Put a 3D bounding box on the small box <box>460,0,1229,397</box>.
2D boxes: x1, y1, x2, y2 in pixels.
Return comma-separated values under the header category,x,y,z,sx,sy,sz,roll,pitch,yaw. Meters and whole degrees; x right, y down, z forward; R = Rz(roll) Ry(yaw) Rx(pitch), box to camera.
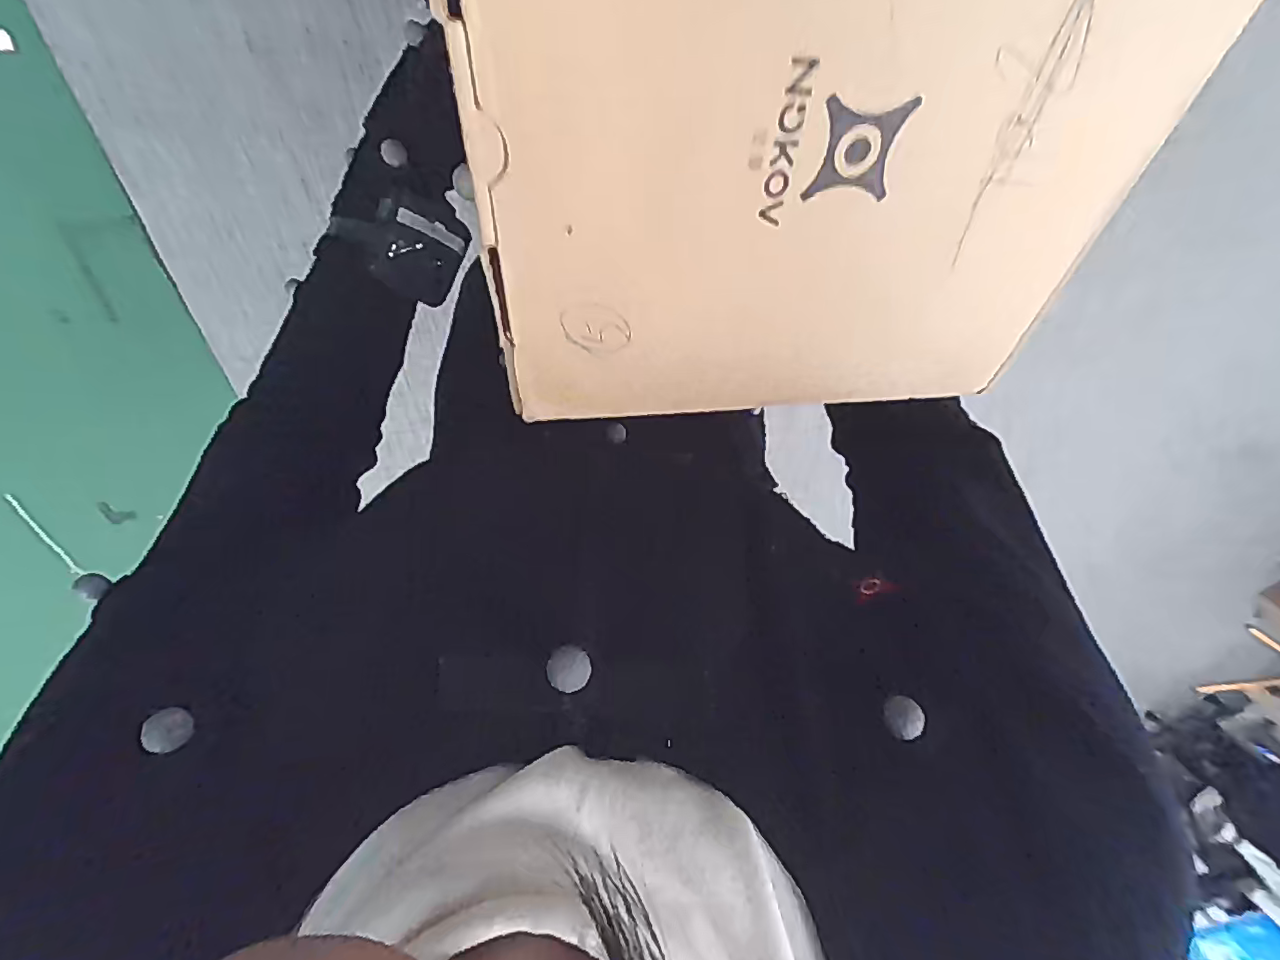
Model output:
category,x,y,z,sx,sy,sz,roll,pitch,yaw
small box,0.037,-0.149,0.181,0.179,0.176,0.168,-6,142,-8
